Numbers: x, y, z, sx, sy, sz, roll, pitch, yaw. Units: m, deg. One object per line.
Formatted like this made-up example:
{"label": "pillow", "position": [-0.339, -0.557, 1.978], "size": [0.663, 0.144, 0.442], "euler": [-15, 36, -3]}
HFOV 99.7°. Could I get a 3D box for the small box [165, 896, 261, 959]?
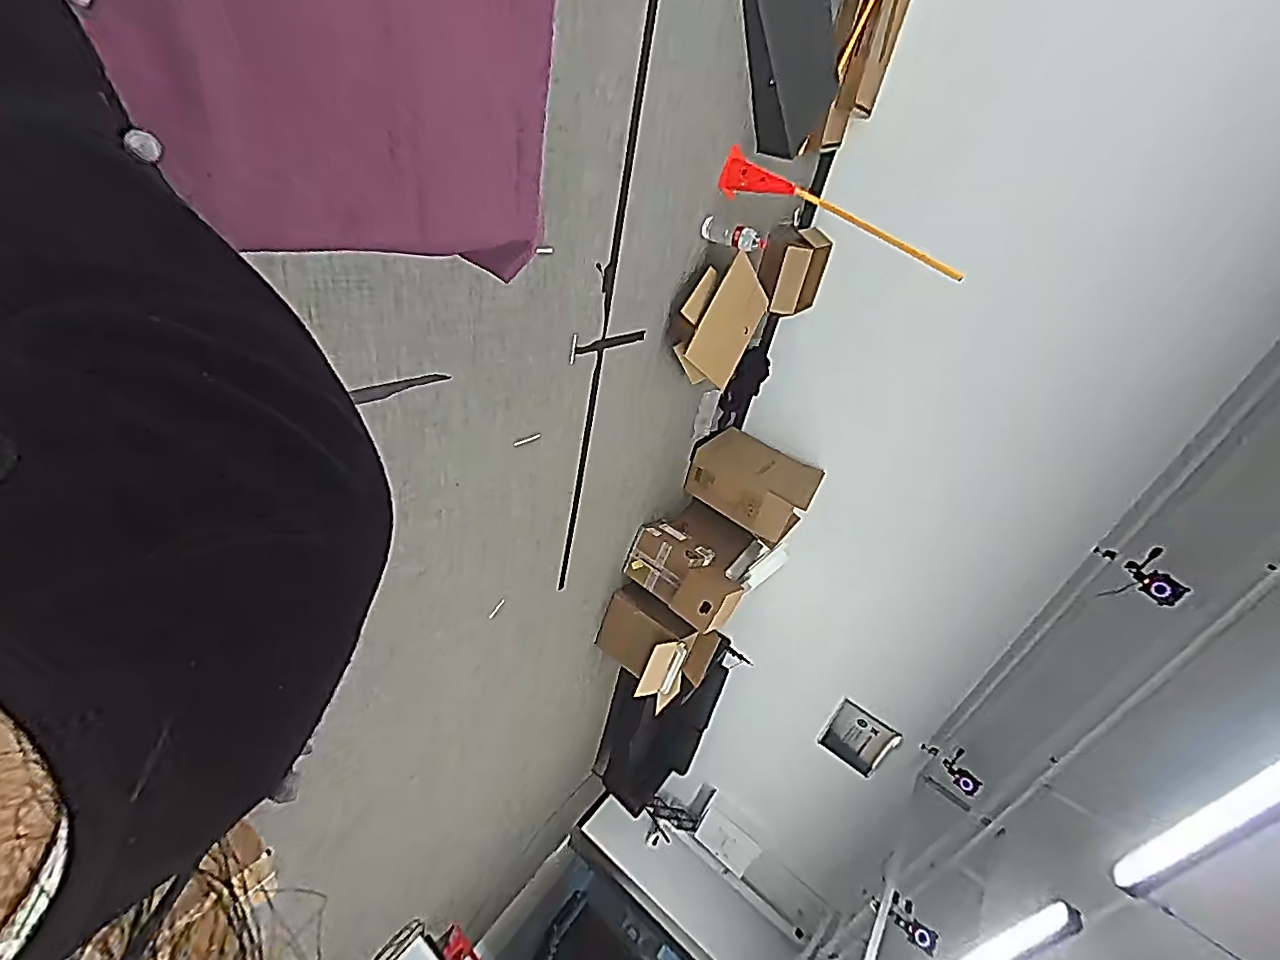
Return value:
{"label": "small box", "position": [-1.344, 1.476, 1.705], "size": [0.179, 0.176, 0.168], "euler": [-30, 141, -46]}
